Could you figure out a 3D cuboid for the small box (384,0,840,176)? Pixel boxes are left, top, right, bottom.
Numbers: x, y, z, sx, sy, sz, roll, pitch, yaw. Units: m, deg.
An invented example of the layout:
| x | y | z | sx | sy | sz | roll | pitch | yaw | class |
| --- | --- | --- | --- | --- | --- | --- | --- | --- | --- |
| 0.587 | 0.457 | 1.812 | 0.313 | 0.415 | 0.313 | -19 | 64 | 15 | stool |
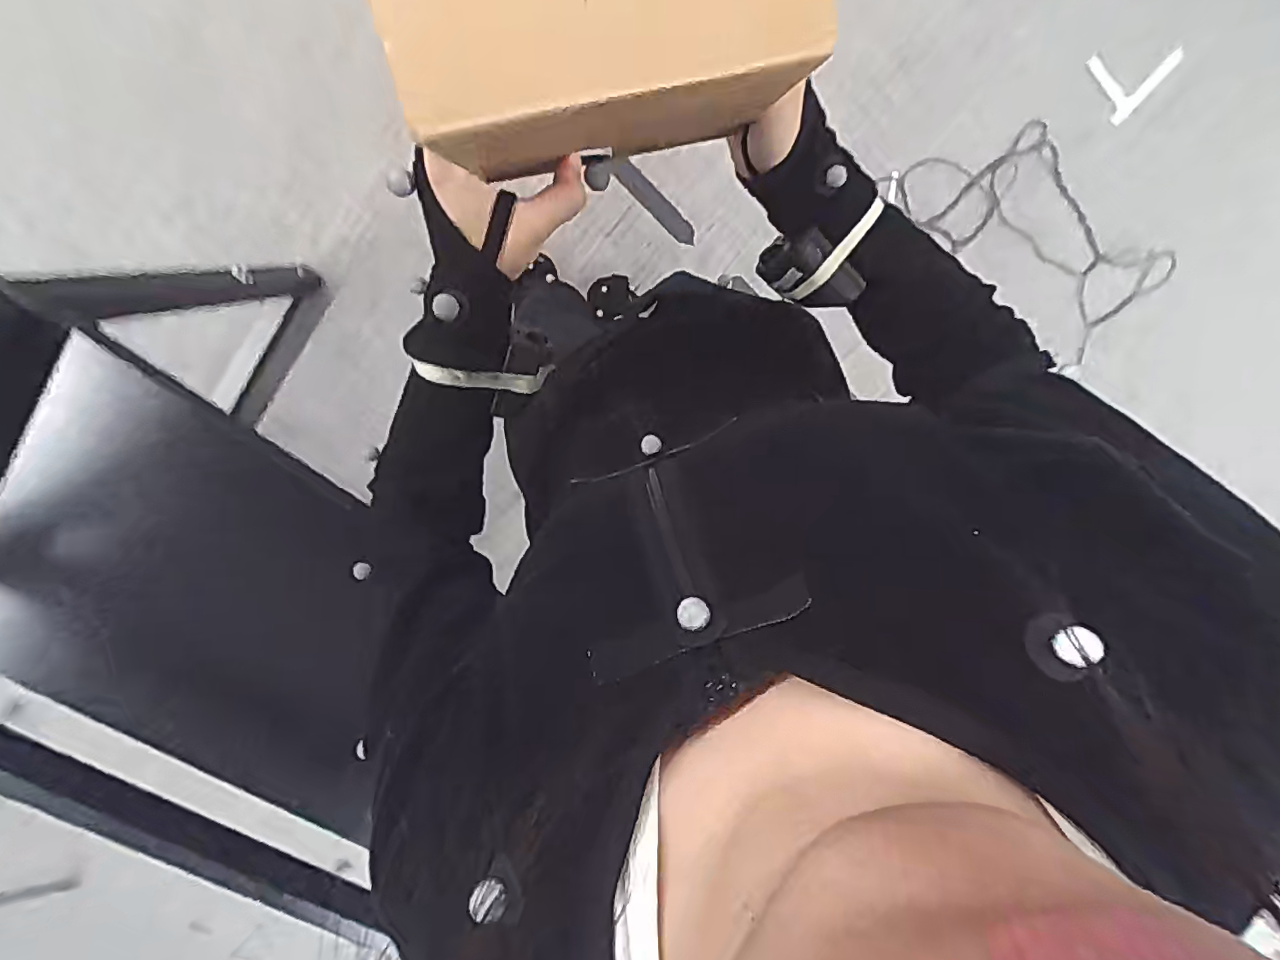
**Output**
| x | y | z | sx | sy | sz | roll | pitch | yaw | class |
| --- | --- | --- | --- | --- | --- | --- | --- | --- | --- |
| -0.024 | -0.258 | 0.245 | 0.168 | 0.176 | 0.179 | -11 | 114 | 1 | small box |
